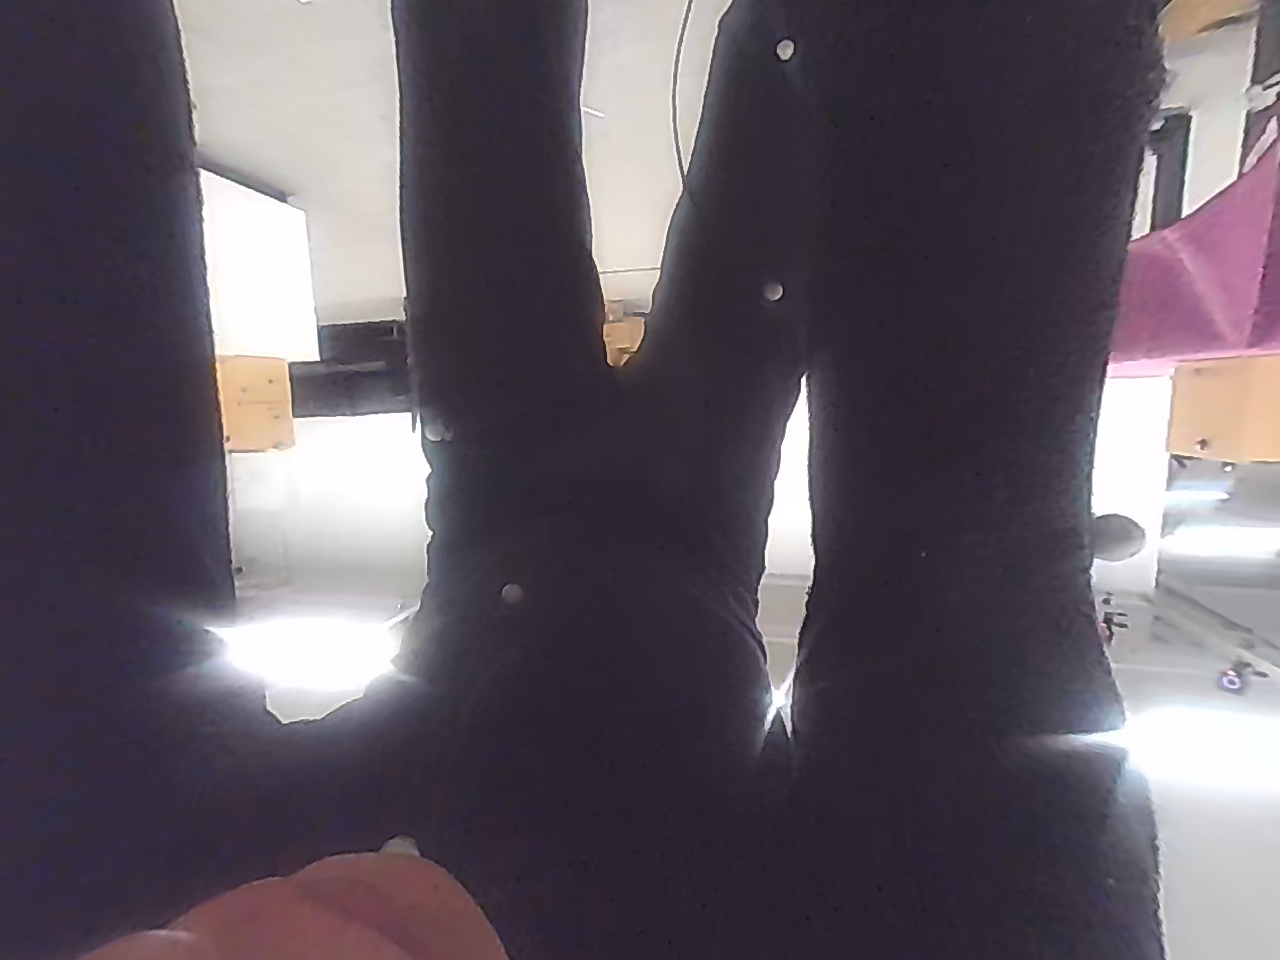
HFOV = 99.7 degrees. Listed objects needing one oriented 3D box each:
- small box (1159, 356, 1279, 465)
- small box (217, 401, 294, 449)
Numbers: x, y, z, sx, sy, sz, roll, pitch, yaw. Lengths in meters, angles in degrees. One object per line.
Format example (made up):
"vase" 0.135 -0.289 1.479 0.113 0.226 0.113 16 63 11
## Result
"small box" 1.032 -0.120 0.902 0.179 0.176 0.168 1 -172 15
"small box" -1.426 -0.206 2.004 0.179 0.176 0.168 1 -170 9
